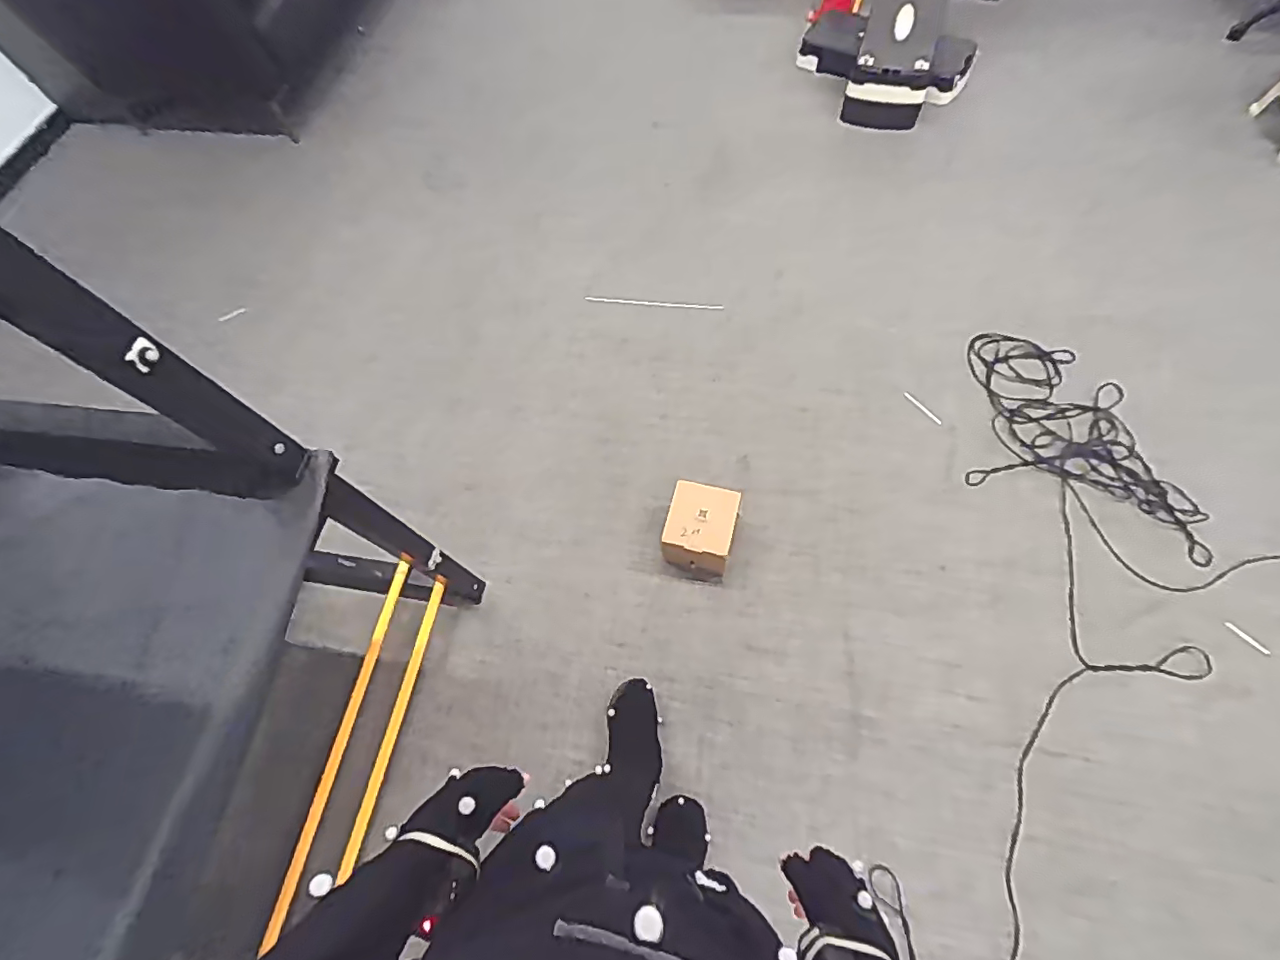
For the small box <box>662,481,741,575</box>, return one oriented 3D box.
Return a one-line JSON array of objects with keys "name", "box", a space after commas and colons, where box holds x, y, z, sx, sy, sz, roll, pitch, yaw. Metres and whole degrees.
[{"name": "small box", "box": [0.160, 0.128, 1.409, 0.168, 0.176, 0.179, 12, 67, 12]}]
